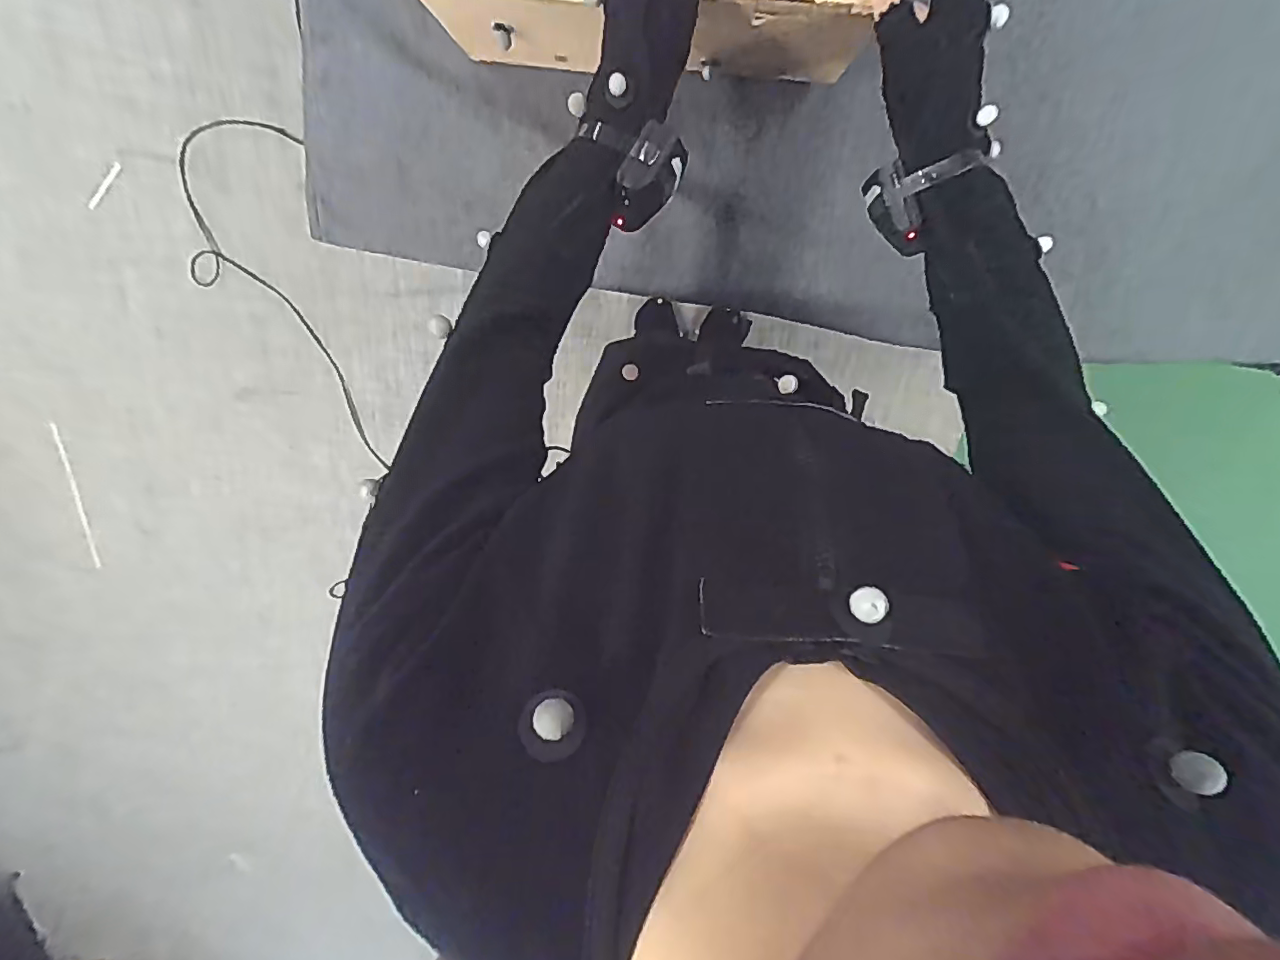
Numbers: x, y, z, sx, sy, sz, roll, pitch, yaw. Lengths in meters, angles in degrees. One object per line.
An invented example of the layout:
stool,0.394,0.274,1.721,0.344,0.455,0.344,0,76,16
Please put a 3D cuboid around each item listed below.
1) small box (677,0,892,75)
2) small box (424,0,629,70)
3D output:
small box,0.125,-0.470,0.451,0.168,0.176,0.179,7,111,2
small box,-0.094,-0.498,0.478,0.168,0.176,0.179,6,110,1
